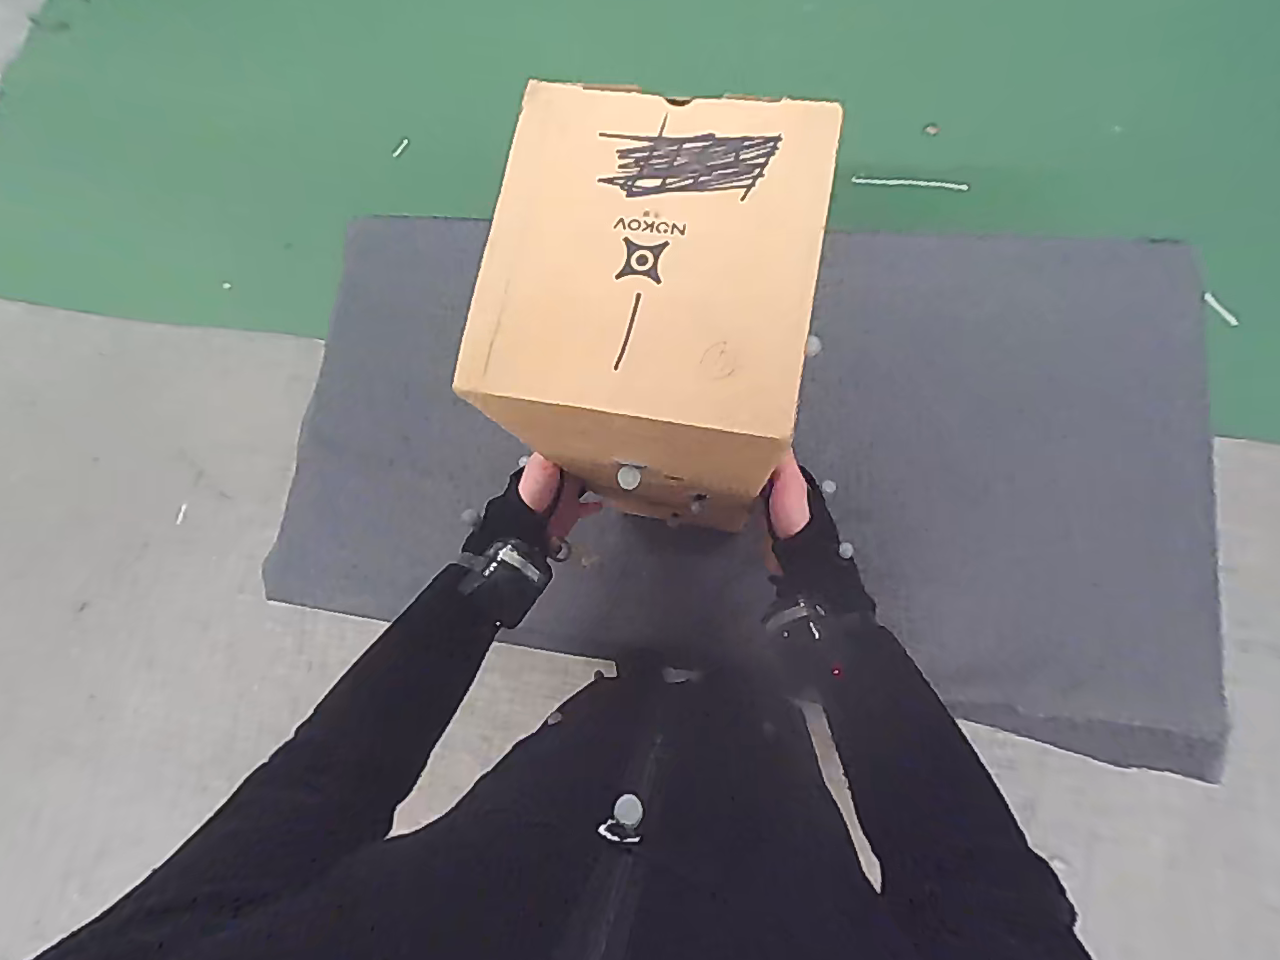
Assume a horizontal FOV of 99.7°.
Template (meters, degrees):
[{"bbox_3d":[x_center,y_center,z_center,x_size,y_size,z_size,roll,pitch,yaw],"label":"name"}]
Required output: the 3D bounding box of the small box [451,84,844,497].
[{"bbox_3d":[0.013,-0.097,0.338,0.168,0.176,0.179,10,82,9],"label":"small box"}]

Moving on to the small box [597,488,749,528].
[{"bbox_3d":[0.059,-0.042,0.657,0.168,0.176,0.179,9,81,10],"label":"small box"}]

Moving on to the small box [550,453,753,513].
[{"bbox_3d":[0.033,-0.072,0.499,0.168,0.176,0.179,8,80,9],"label":"small box"}]
